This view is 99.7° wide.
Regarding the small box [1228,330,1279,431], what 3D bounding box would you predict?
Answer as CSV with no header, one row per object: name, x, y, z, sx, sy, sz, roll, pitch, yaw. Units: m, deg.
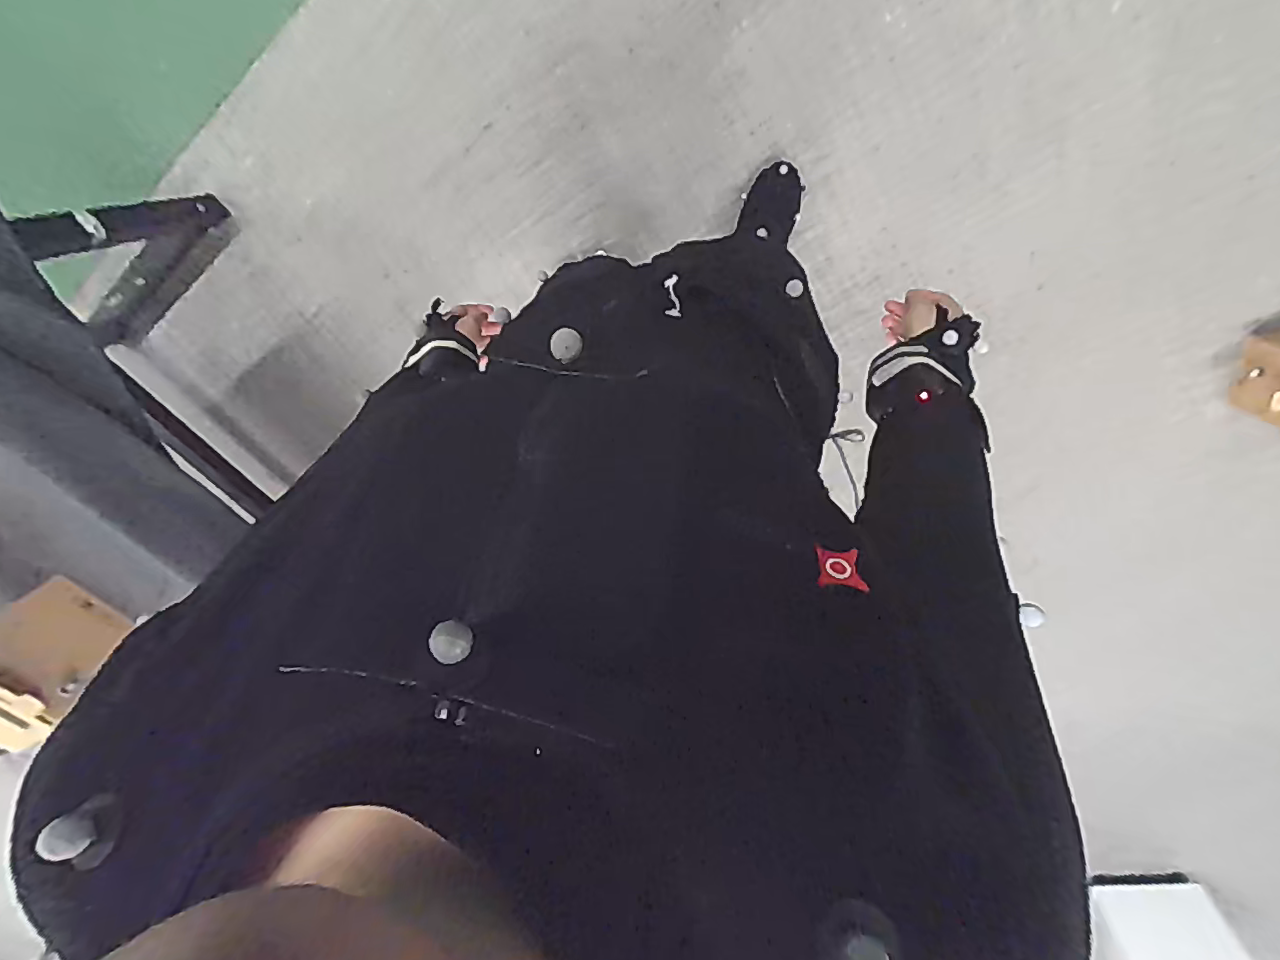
small box,1.394,-0.213,1.107,0.179,0.176,0.168,-9,121,13
